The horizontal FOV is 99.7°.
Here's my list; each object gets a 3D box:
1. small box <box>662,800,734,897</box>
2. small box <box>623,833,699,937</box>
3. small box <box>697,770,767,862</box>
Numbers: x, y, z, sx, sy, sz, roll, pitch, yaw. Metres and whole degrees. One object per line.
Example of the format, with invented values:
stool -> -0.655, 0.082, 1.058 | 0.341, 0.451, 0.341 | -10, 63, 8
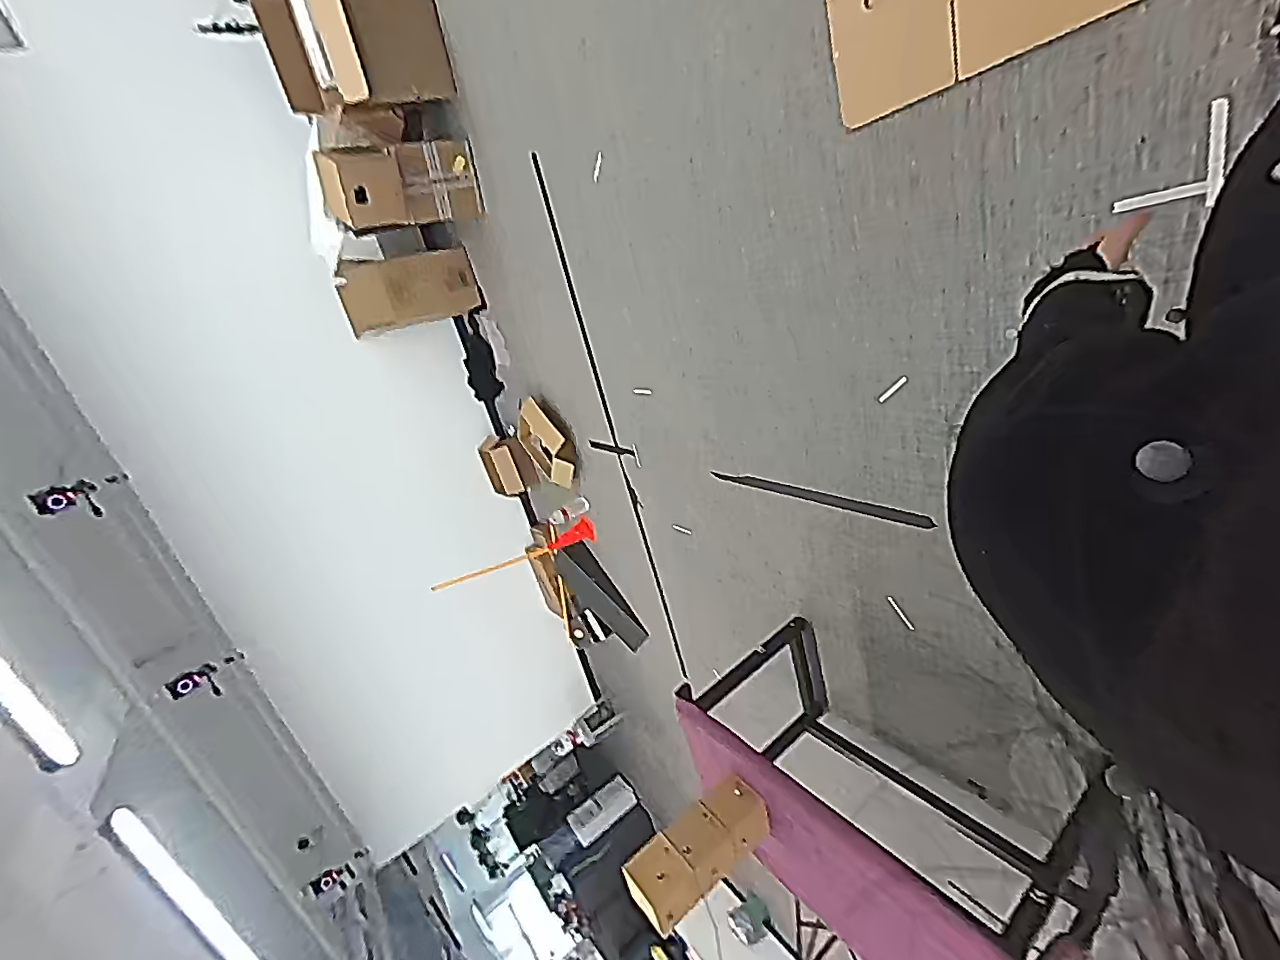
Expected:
small box -> 0.201, 1.241, 1.830 | 0.168, 0.176, 0.179 | 22, 133, 50
small box -> 0.071, 1.301, 1.751 | 0.168, 0.176, 0.179 | 21, 132, 50
small box -> 0.331, 1.180, 1.909 | 0.168, 0.176, 0.179 | 19, 129, 52
